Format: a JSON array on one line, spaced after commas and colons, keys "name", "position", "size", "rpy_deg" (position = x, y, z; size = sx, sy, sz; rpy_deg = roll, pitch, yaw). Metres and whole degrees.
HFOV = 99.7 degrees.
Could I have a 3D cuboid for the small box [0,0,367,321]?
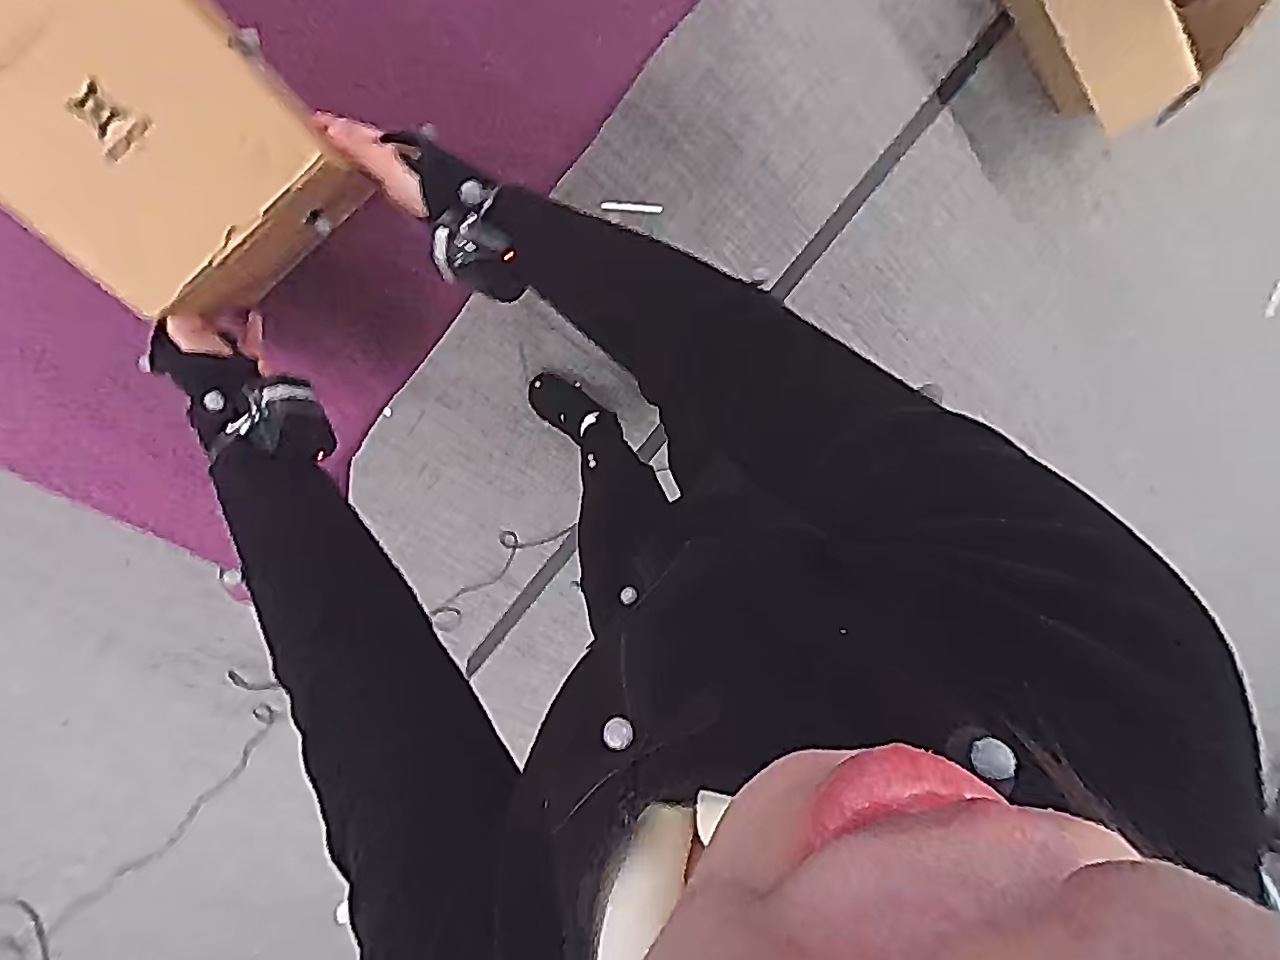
[{"name": "small box", "position": [-0.335, -0.245, 0.393], "size": [0.168, 0.176, 0.179], "rpy_deg": [-41, 116, 3]}]
